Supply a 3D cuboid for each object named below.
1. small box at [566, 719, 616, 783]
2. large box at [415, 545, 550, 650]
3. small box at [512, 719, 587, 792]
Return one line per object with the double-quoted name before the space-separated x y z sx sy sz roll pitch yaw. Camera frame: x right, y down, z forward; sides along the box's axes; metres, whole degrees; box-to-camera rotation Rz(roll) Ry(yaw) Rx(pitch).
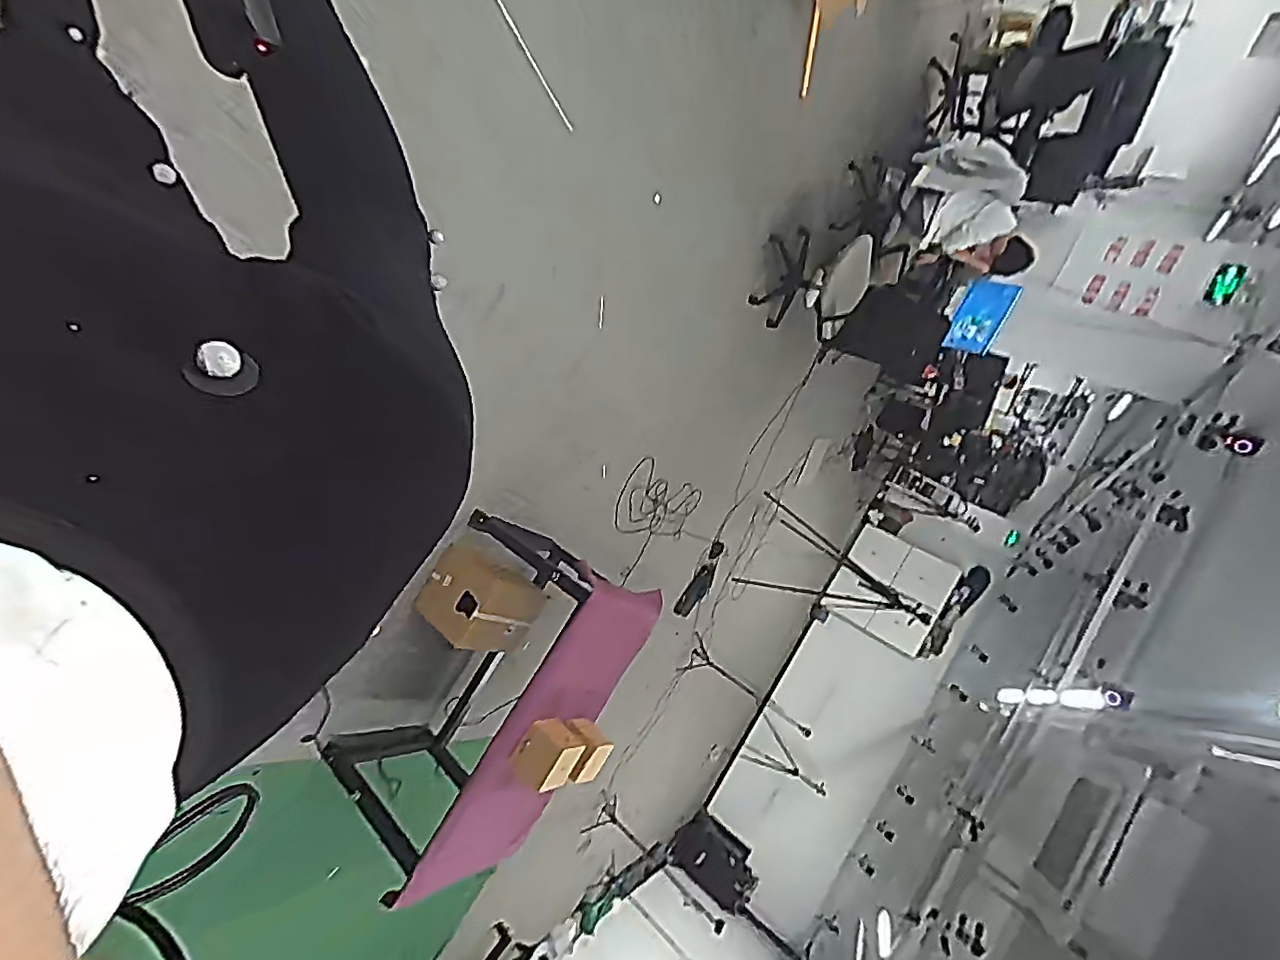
"small box" -0.233 1.095 2.202 0.168 0.176 0.179 -57 149 -7
"large box" -0.678 0.517 2.361 0.320 0.320 0.408 -57 151 -5
"small box" -0.329 0.993 1.966 0.168 0.176 0.179 -58 151 -7
